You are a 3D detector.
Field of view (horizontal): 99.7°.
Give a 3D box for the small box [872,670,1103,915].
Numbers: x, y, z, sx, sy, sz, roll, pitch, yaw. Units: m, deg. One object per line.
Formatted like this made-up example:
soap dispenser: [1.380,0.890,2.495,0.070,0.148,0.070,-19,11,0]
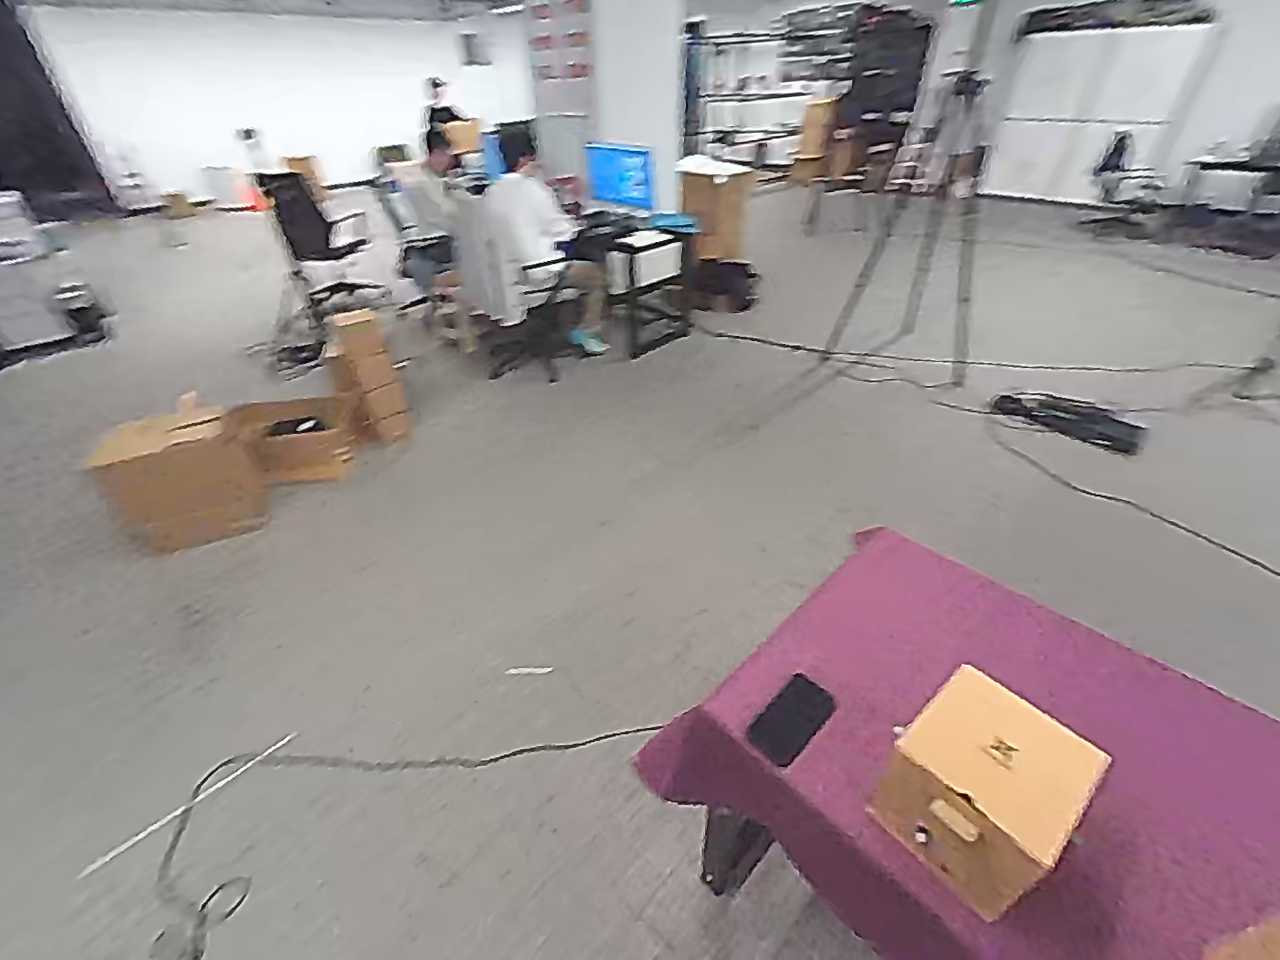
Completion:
small box: [0.421,0.386,0.680,0.179,0.176,0.168,-27,44,-29]
